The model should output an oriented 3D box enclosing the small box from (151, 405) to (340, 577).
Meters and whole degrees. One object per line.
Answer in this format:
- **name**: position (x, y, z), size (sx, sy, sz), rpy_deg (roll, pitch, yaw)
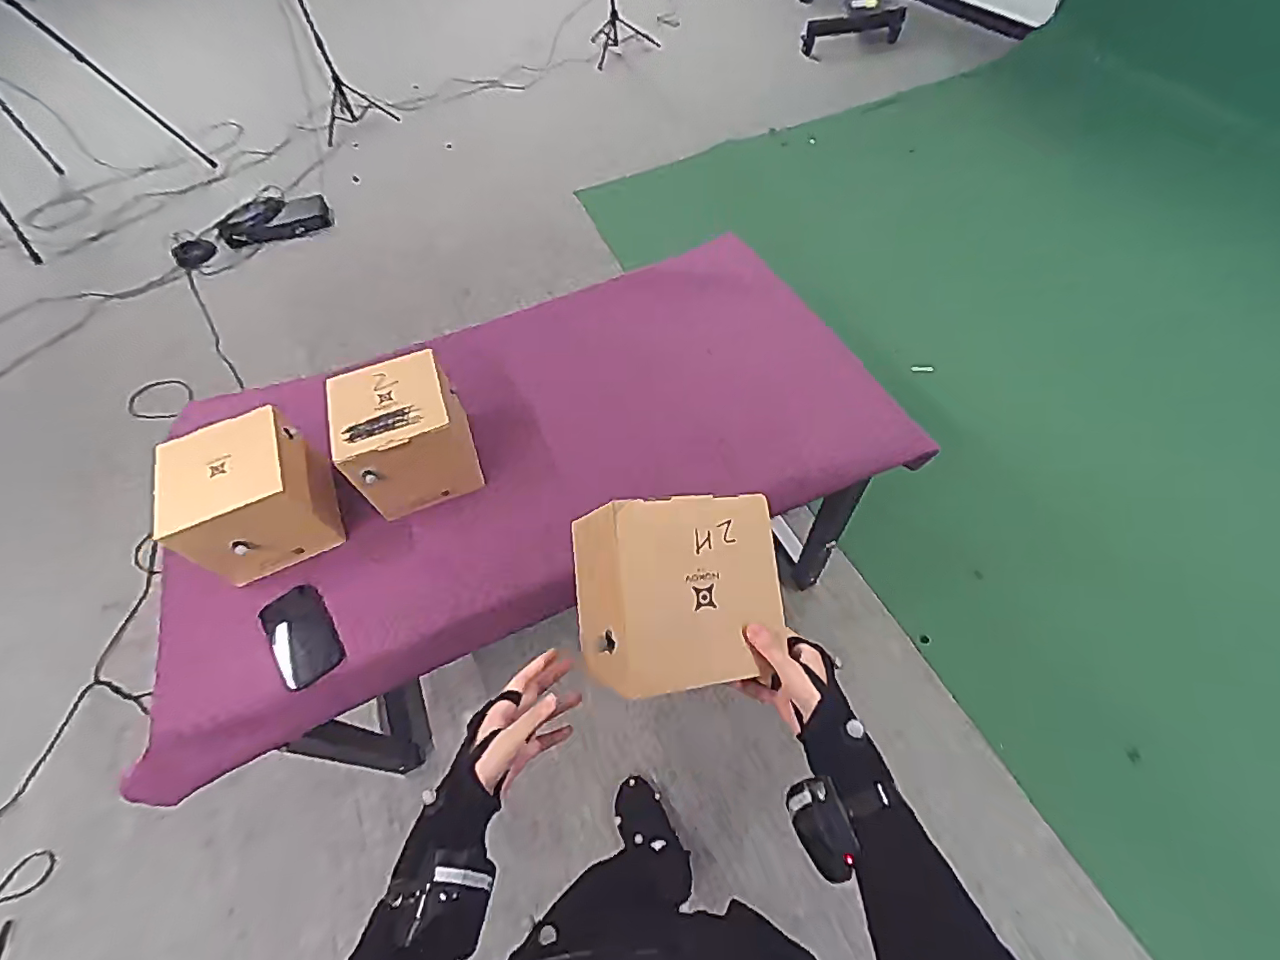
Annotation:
- **small box**: position (-0.581, 0.025, 0.815), size (0.168, 0.176, 0.179), rpy_deg (-24, 58, -11)
